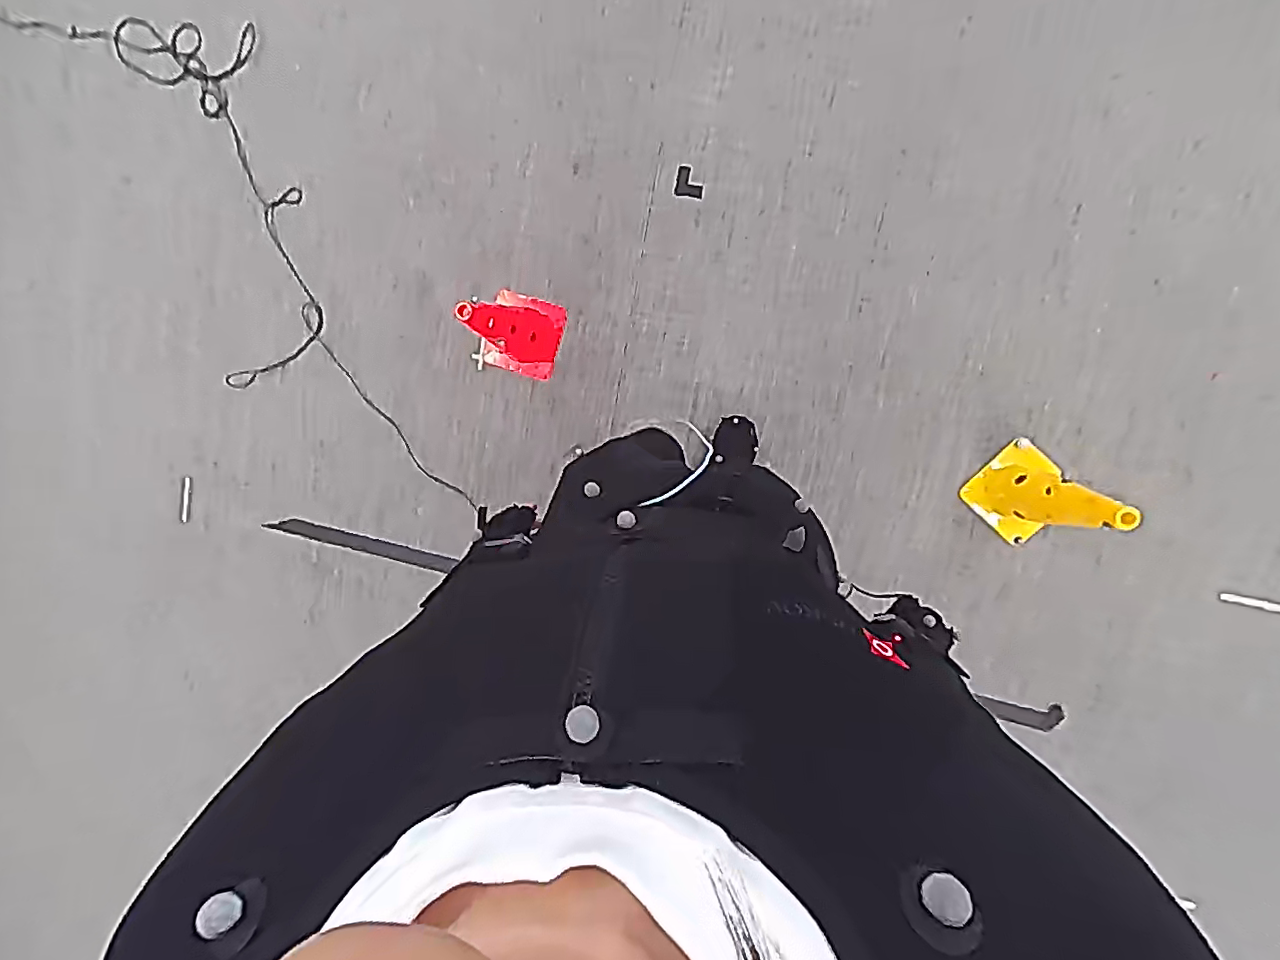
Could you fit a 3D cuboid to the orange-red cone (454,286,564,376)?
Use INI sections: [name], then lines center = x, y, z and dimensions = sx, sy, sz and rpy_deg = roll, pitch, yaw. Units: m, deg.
[orange-red cone]
center = -0.334, -0.370, 1.262
dimensions = 0.199, 0.360, 0.198
rpy_deg = 20, 100, 4
